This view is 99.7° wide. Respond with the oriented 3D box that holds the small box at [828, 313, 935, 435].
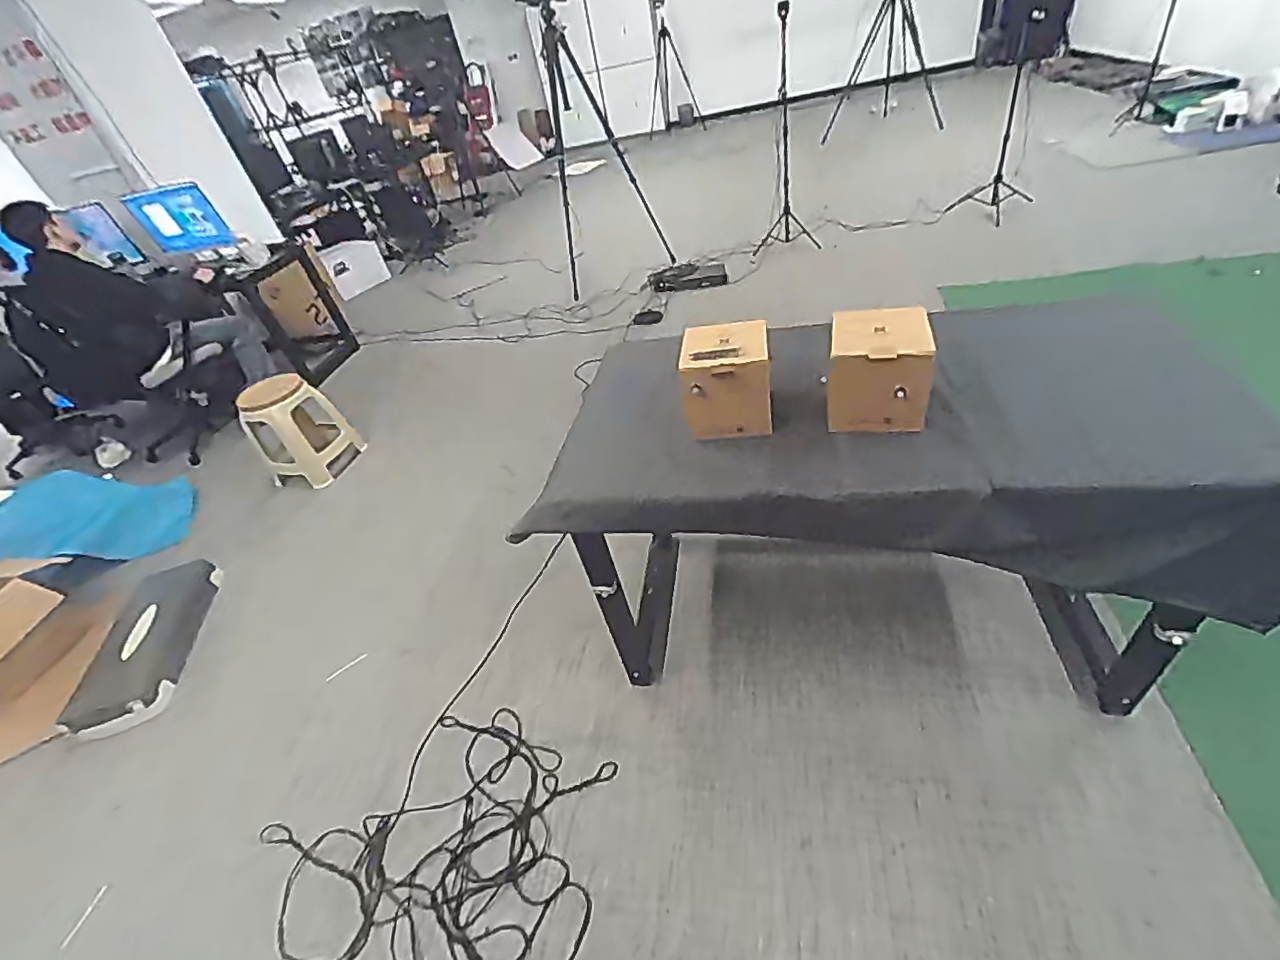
[{"bbox_3d":[0.449,-0.197,1.027,0.168,0.176,0.179,2,40,18],"label":"small box"}]
